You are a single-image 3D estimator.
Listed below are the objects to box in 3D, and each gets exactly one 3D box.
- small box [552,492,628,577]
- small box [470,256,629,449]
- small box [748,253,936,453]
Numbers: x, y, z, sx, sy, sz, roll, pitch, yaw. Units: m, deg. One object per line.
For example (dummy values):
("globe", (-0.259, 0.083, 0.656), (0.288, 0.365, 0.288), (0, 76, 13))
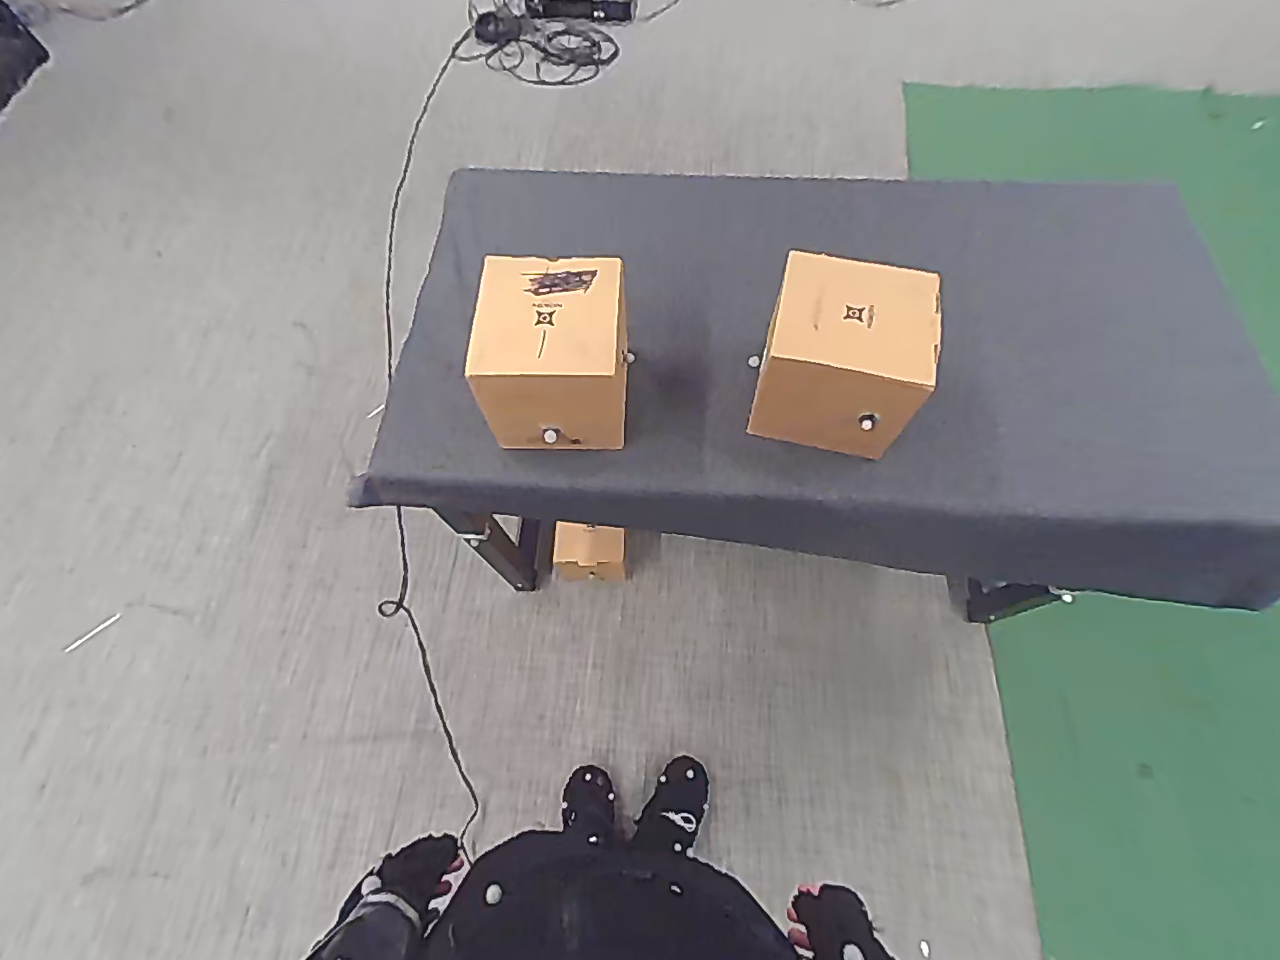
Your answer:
("small box", (-0.118, 0.142, 1.357), (0.168, 0.176, 0.179), (1, 66, 2))
("small box", (-0.101, -0.157, 0.689), (0.168, 0.176, 0.179), (1, 65, 1))
("small box", (0.246, -0.151, 0.684), (0.179, 0.176, 0.168), (11, 65, 8))
